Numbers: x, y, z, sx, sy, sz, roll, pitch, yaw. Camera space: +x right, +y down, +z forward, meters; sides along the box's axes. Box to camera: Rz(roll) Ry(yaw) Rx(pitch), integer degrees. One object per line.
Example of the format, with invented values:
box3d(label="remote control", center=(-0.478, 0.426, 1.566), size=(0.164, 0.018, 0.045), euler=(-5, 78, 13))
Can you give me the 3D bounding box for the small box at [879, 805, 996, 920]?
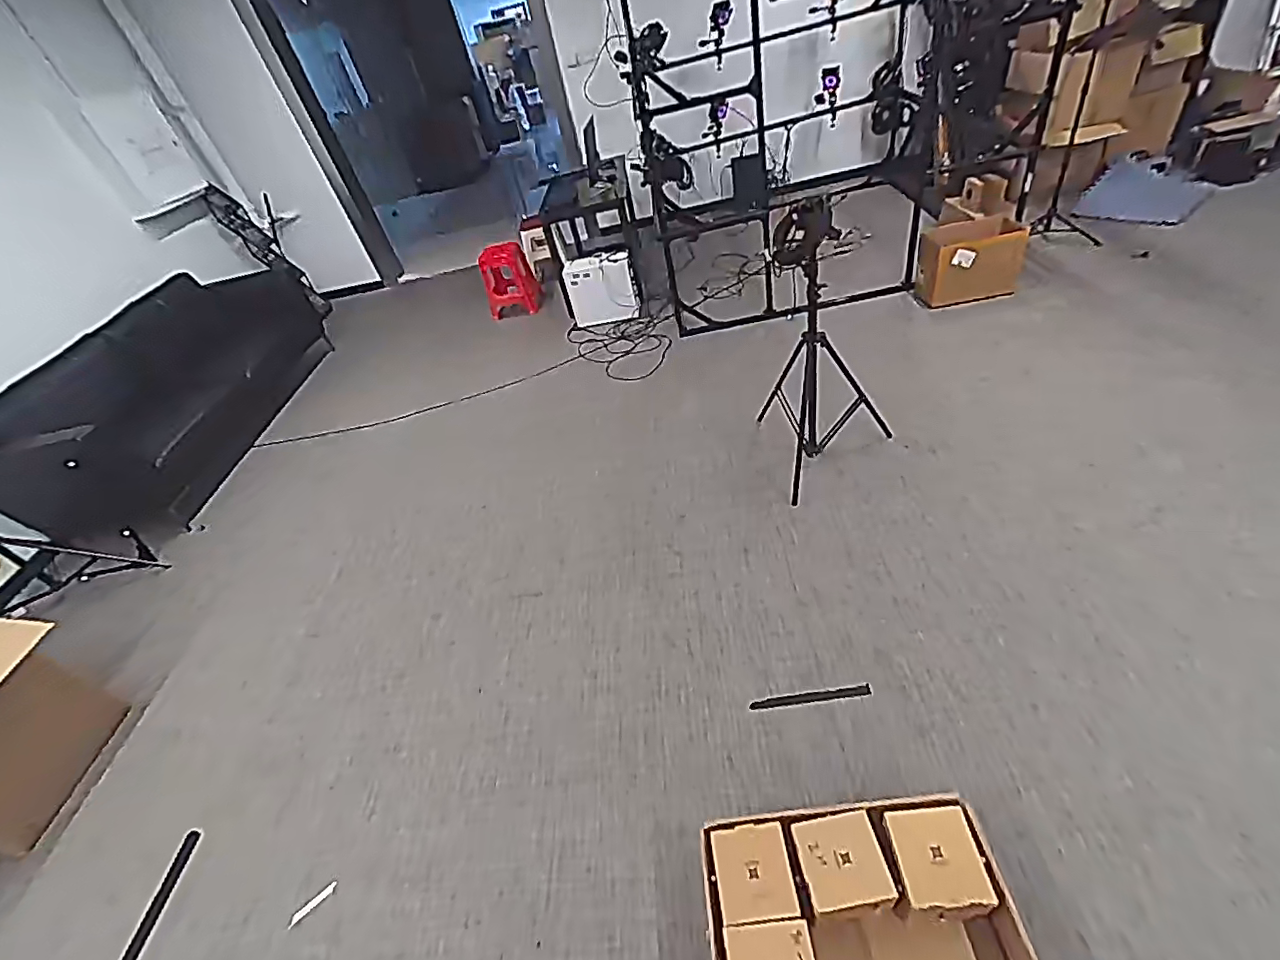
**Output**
box3d(label="small box", center=(0.643, 0.847, 1.197), size=(0.168, 0.176, 0.179), euler=(-11, 44, 8))
